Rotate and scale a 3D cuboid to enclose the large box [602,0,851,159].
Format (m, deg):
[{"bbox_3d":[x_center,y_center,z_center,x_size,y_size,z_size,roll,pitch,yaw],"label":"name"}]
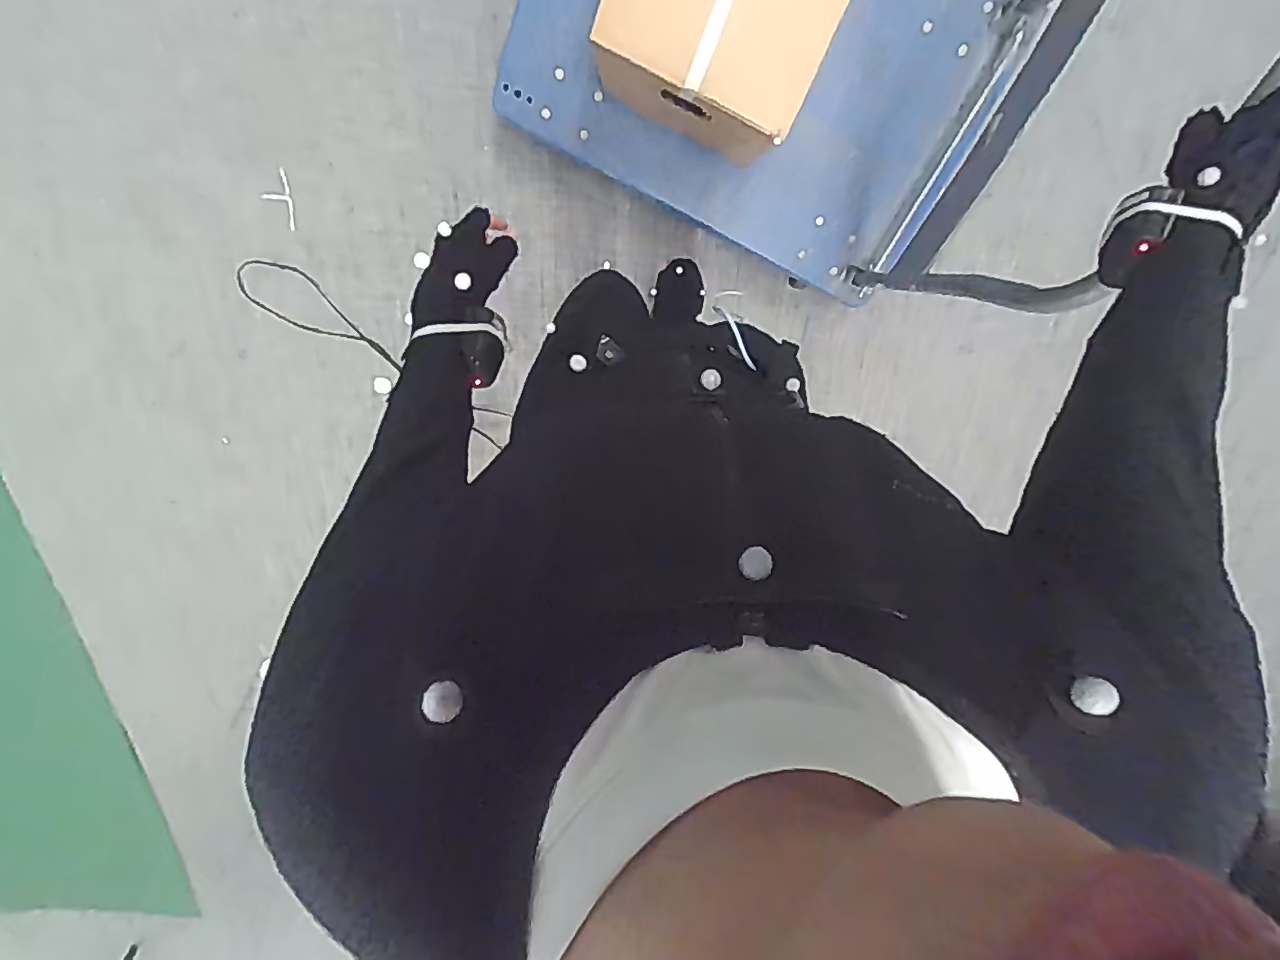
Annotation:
[{"bbox_3d":[0.157,-0.791,0.843,0.320,0.320,0.408,21,114,-7],"label":"large box"}]
